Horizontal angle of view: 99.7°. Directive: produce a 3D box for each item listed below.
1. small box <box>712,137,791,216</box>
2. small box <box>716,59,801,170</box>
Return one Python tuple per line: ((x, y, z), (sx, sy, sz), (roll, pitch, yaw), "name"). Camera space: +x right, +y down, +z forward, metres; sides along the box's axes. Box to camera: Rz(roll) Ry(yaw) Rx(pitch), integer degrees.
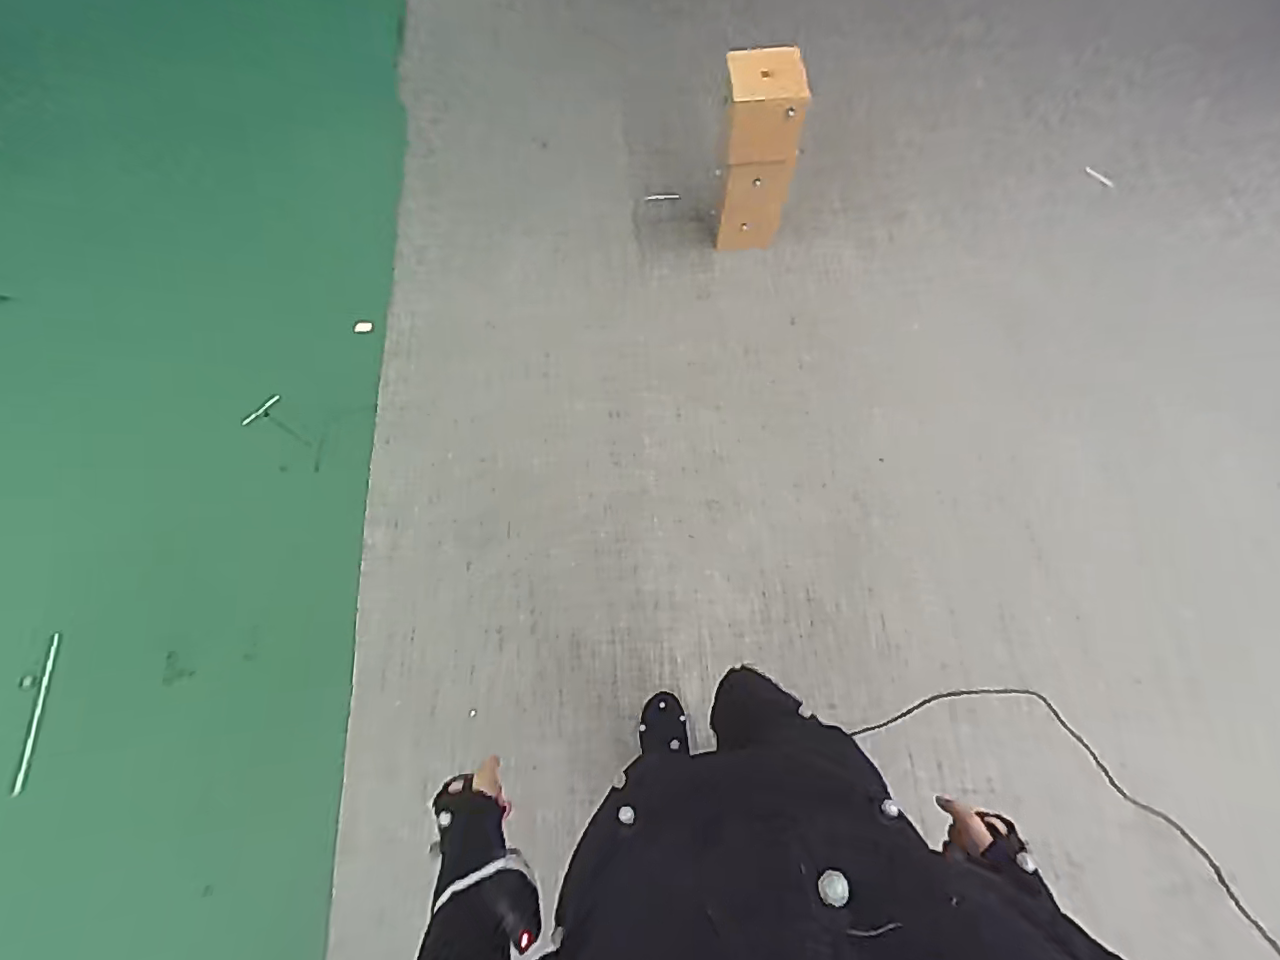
((0.306, -0.875, 1.521), (0.179, 0.176, 0.168), (-7, 71, 1), "small box")
((0.289, -0.913, 1.362), (0.179, 0.176, 0.168), (-5, 72, 0), "small box")
